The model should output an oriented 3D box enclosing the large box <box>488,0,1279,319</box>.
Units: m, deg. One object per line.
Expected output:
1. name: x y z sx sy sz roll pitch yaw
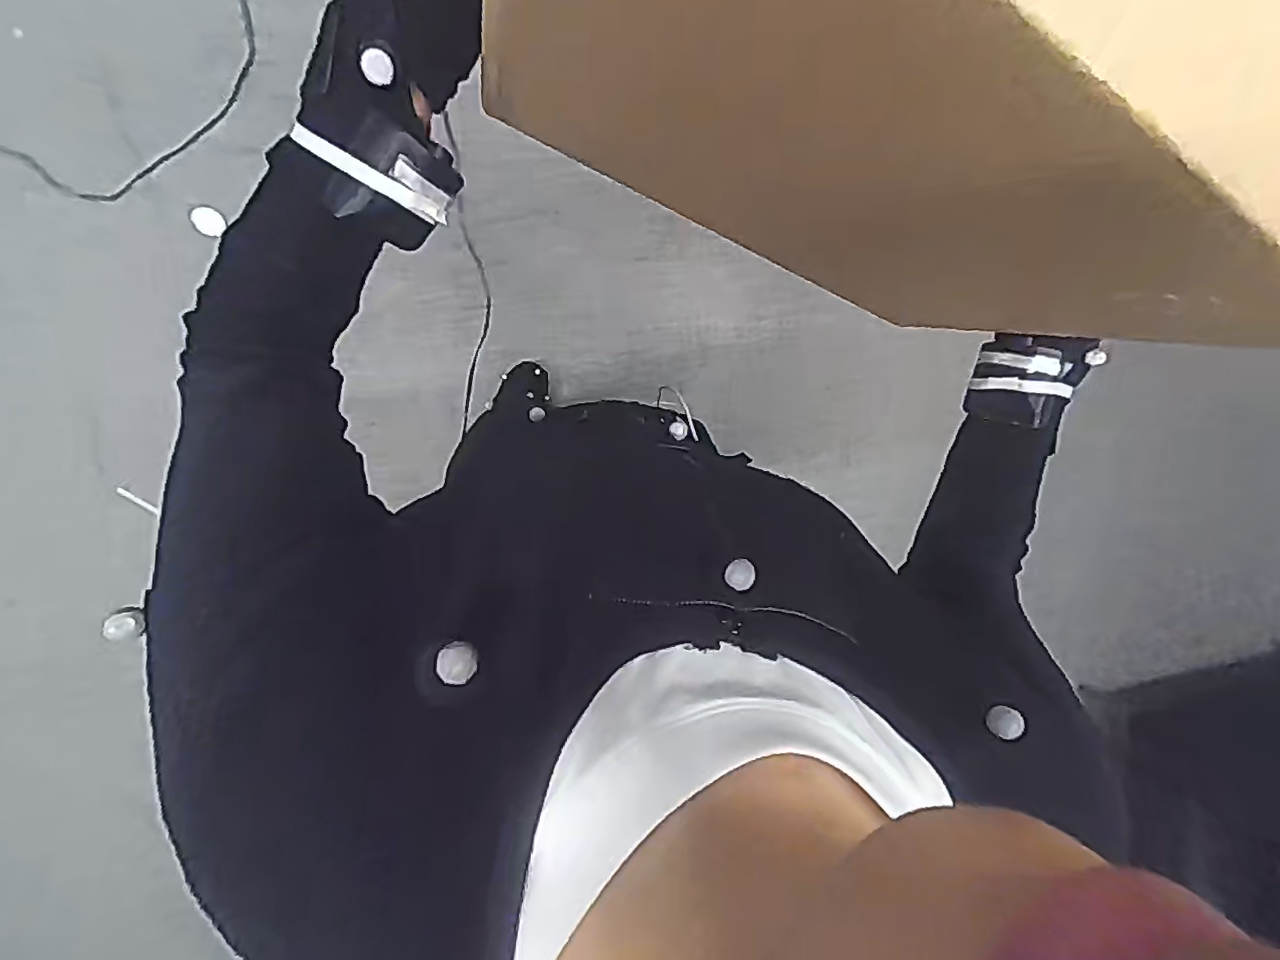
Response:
1. large box: 0.164 -0.300 0.280 0.408 0.320 0.320 16 103 -22
